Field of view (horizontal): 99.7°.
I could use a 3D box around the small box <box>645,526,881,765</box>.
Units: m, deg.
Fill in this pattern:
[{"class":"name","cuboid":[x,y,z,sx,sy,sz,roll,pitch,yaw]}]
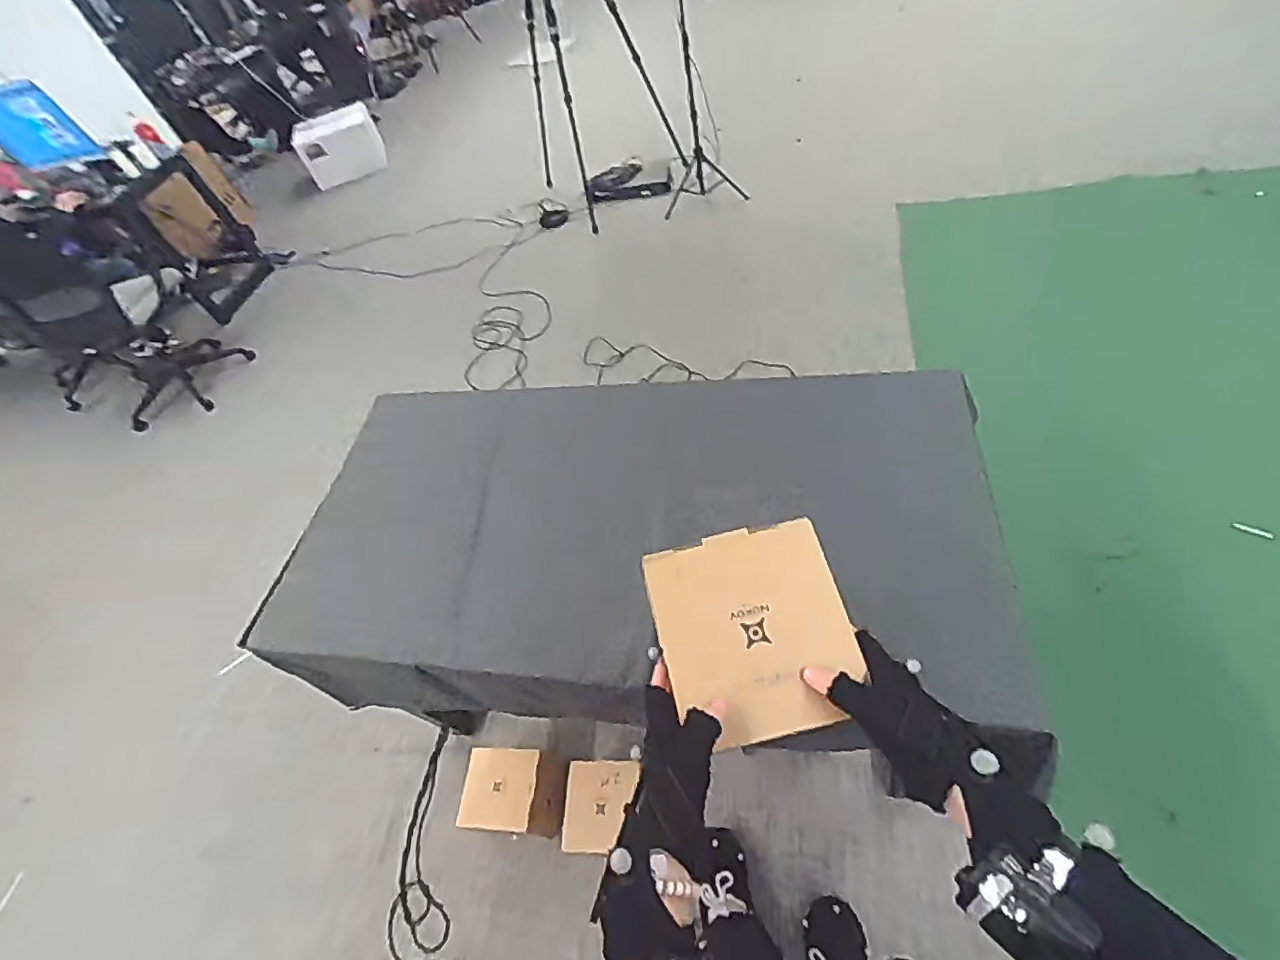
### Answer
[{"class":"small box","cuboid":[0.103,0.168,0.540,0.168,0.176,0.179,-13,66,-1]}]
